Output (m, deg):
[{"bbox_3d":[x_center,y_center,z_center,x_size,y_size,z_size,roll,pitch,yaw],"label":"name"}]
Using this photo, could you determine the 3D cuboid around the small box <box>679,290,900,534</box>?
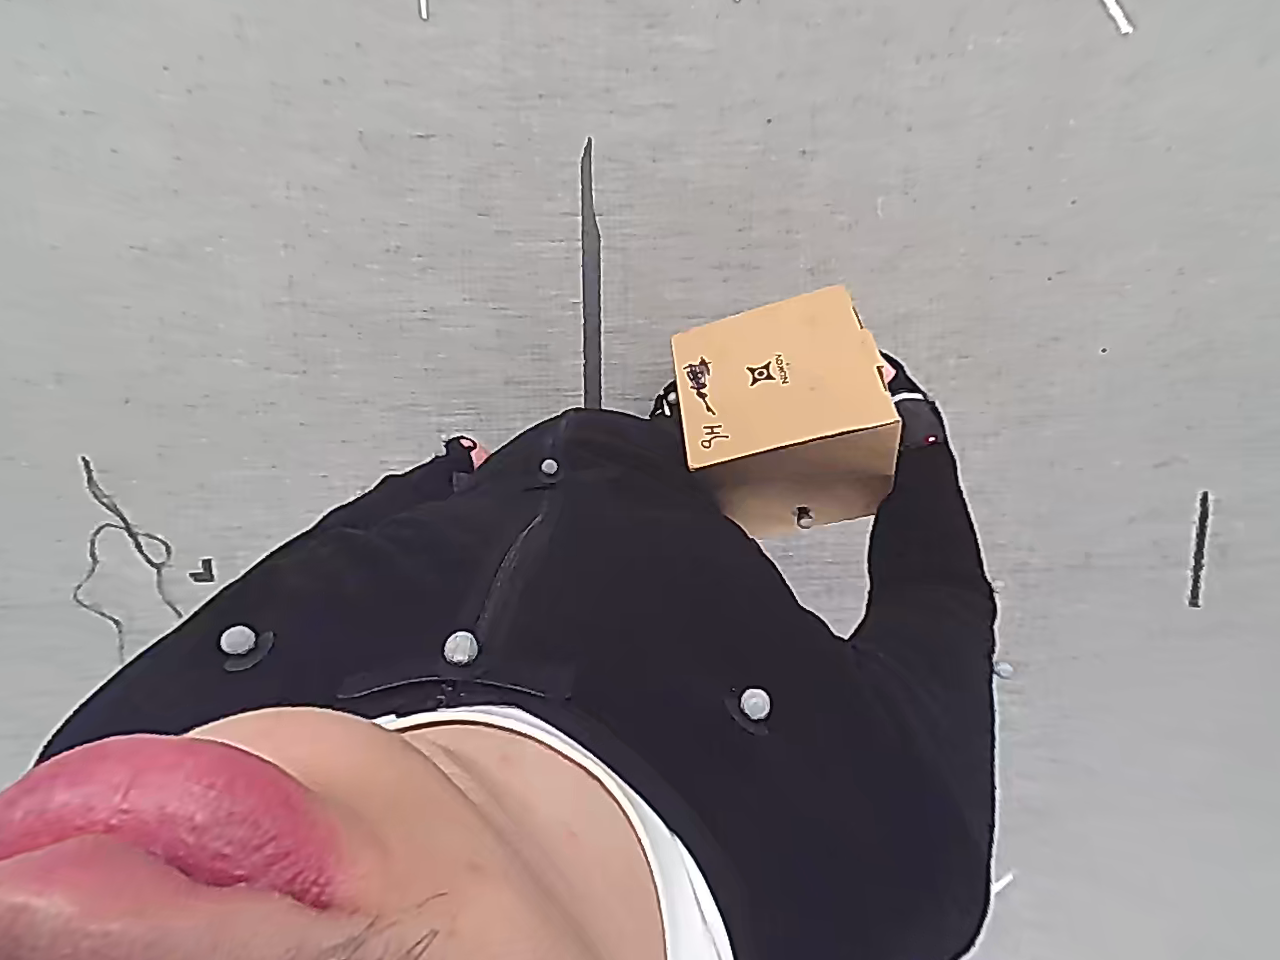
[{"bbox_3d":[0.151,-0.061,0.570,0.179,0.176,0.168,-13,56,13],"label":"small box"}]
